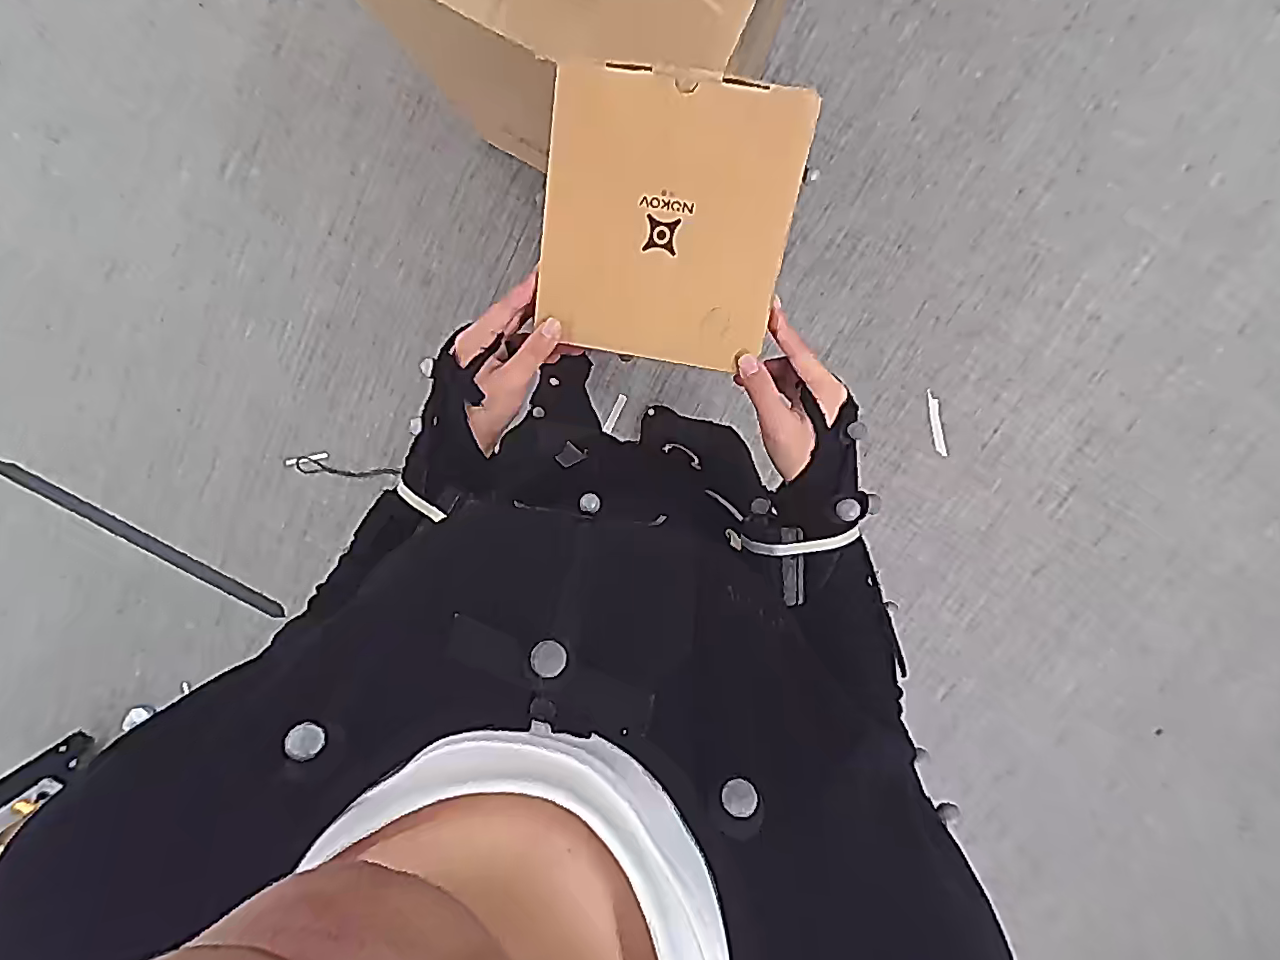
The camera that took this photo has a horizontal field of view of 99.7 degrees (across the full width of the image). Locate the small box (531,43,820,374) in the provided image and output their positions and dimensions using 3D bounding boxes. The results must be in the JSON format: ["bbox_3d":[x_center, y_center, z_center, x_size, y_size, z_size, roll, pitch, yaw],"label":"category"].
[{"bbox_3d":[0.025,-0.194,0.424,0.168,0.176,0.179,11,110,4],"label":"small box"}]
